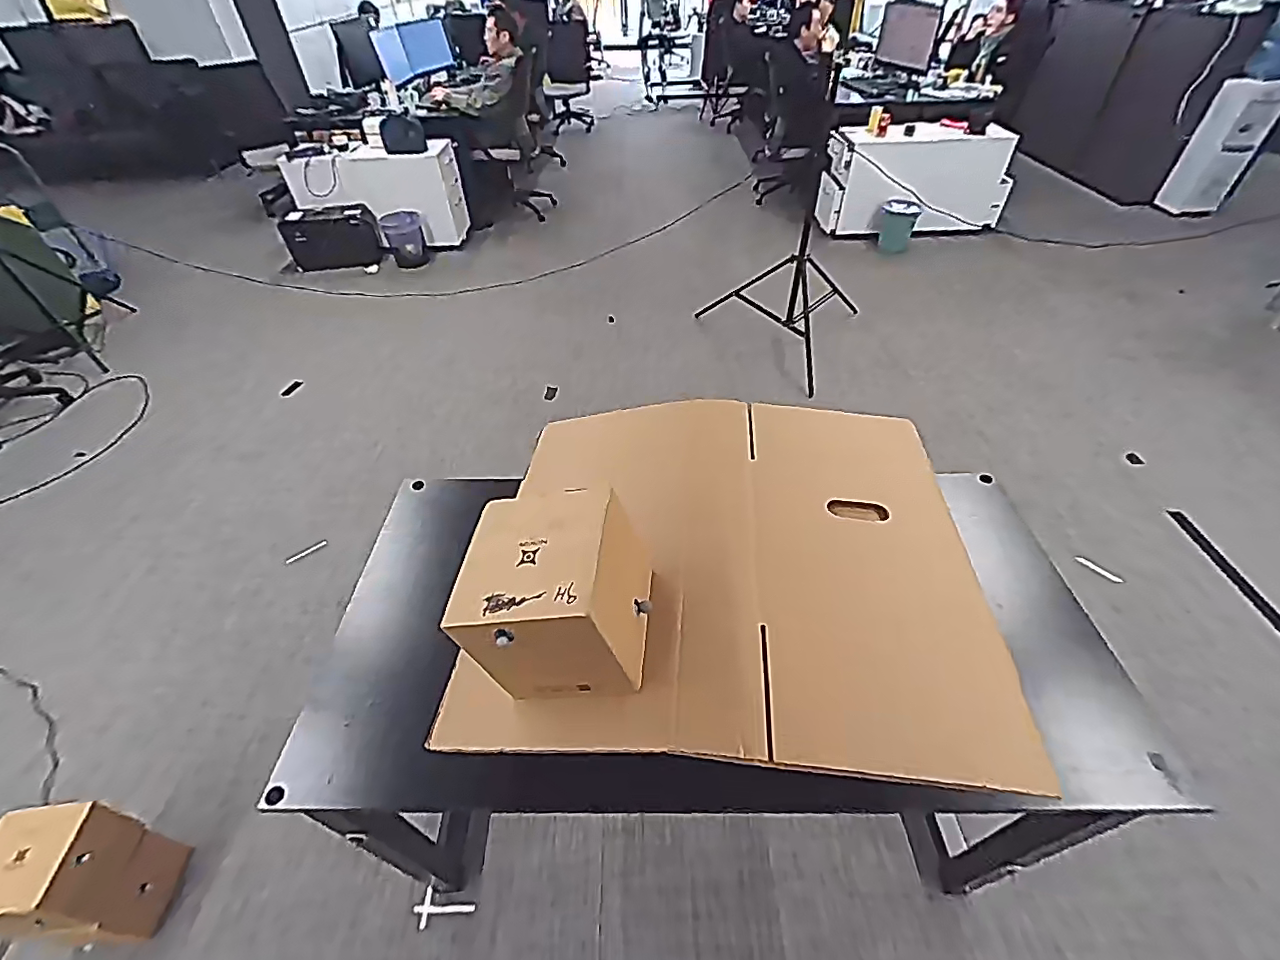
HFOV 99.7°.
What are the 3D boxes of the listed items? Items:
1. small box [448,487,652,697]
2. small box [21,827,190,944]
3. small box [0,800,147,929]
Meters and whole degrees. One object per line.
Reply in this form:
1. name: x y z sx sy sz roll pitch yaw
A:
1. small box: -0.089 0.135 0.642 0.168 0.176 0.179 -9 42 16
2. small box: -1.141 0.884 1.179 0.168 0.176 0.179 -4 45 -1
3. small box: -1.147 0.764 1.070 0.168 0.176 0.179 -5 43 -4
